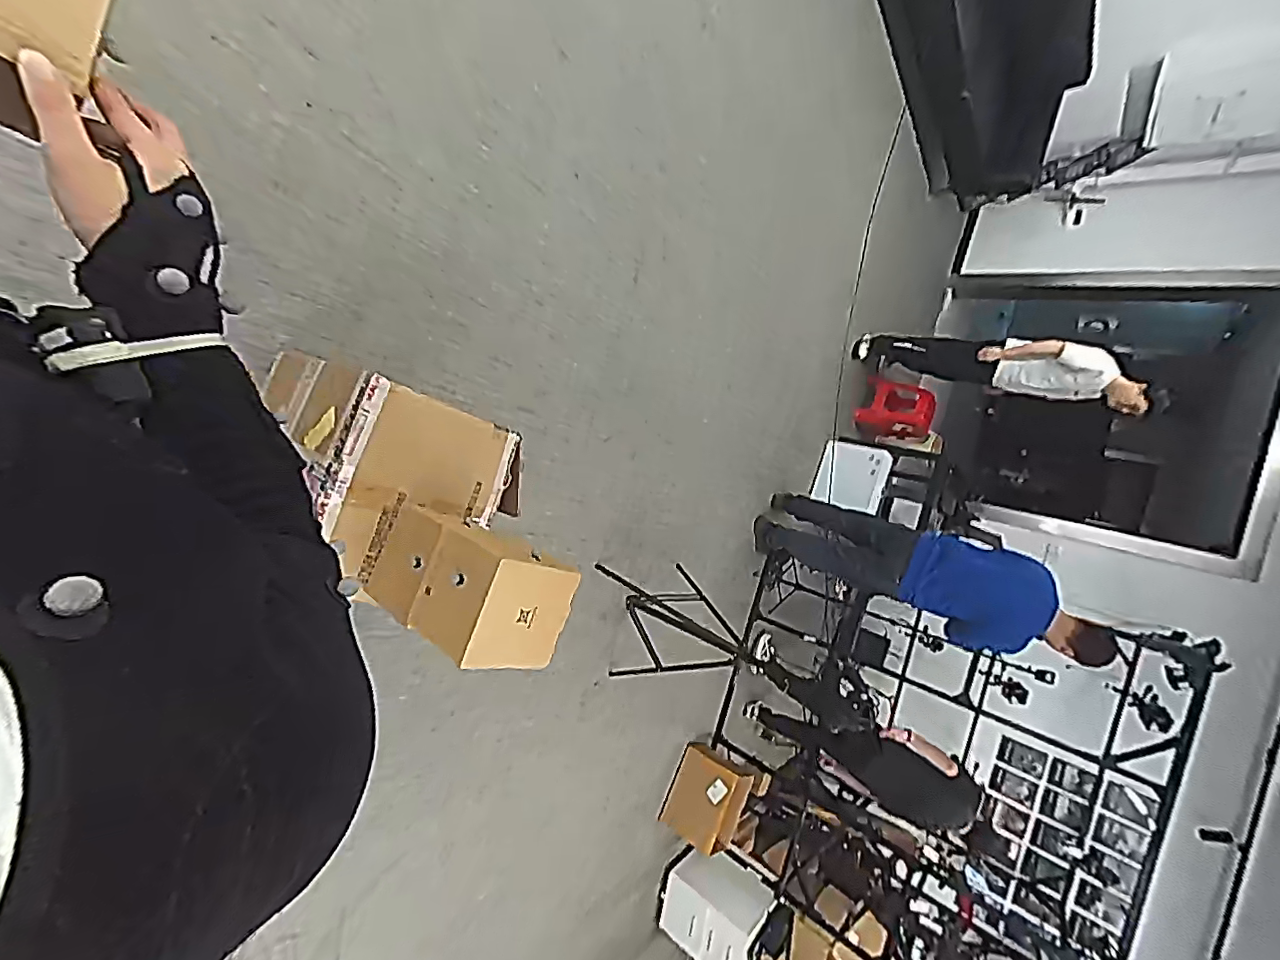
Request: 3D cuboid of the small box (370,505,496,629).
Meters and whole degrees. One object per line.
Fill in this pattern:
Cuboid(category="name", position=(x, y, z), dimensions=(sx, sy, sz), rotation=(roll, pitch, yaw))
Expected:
Cuboid(category="small box", position=(-0.355, 0.160, 0.980), dimensions=(0.168, 0.176, 0.179), rotation=(29, 82, -50))

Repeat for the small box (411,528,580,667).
Cuboid(category="small box", position=(-0.235, 0.187, 0.873), dimensions=(0.179, 0.176, 0.168), rotation=(25, 85, -51))

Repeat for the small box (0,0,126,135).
Cuboid(category="small box", position=(-0.407, -0.330, 0.299), dimensions=(0.179, 0.176, 0.168), rotation=(18, 88, -51))
